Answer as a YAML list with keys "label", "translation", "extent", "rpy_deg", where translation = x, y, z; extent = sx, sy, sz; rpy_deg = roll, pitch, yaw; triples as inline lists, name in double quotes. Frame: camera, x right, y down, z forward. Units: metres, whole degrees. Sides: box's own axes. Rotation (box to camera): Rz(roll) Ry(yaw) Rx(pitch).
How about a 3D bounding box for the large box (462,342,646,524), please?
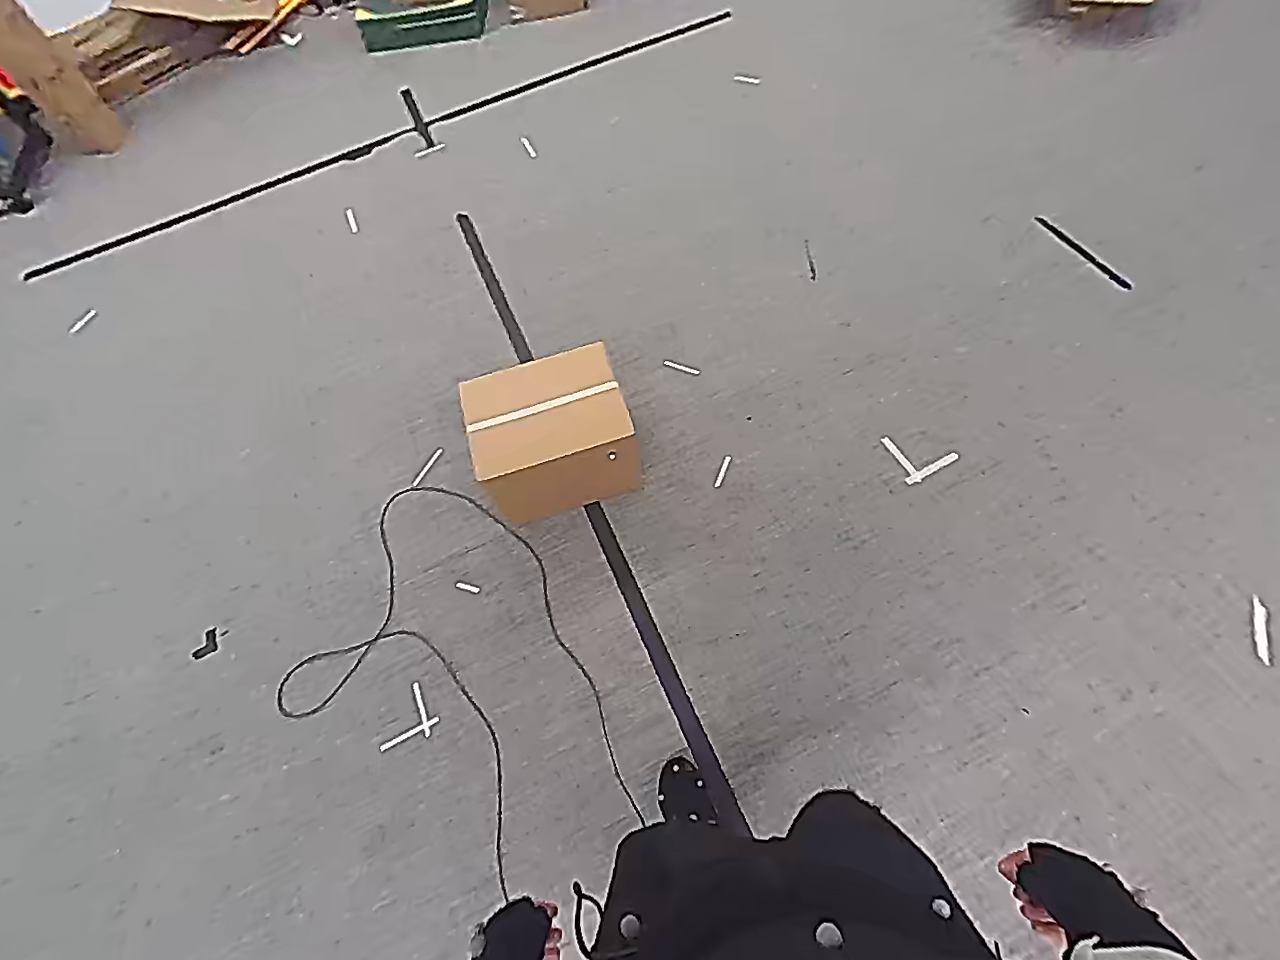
- label: "large box"
  translation: [-0.225, -0.120, 1.508]
  extent: [0.408, 0.320, 0.320]
  rpy_deg: [-18, 64, -4]
